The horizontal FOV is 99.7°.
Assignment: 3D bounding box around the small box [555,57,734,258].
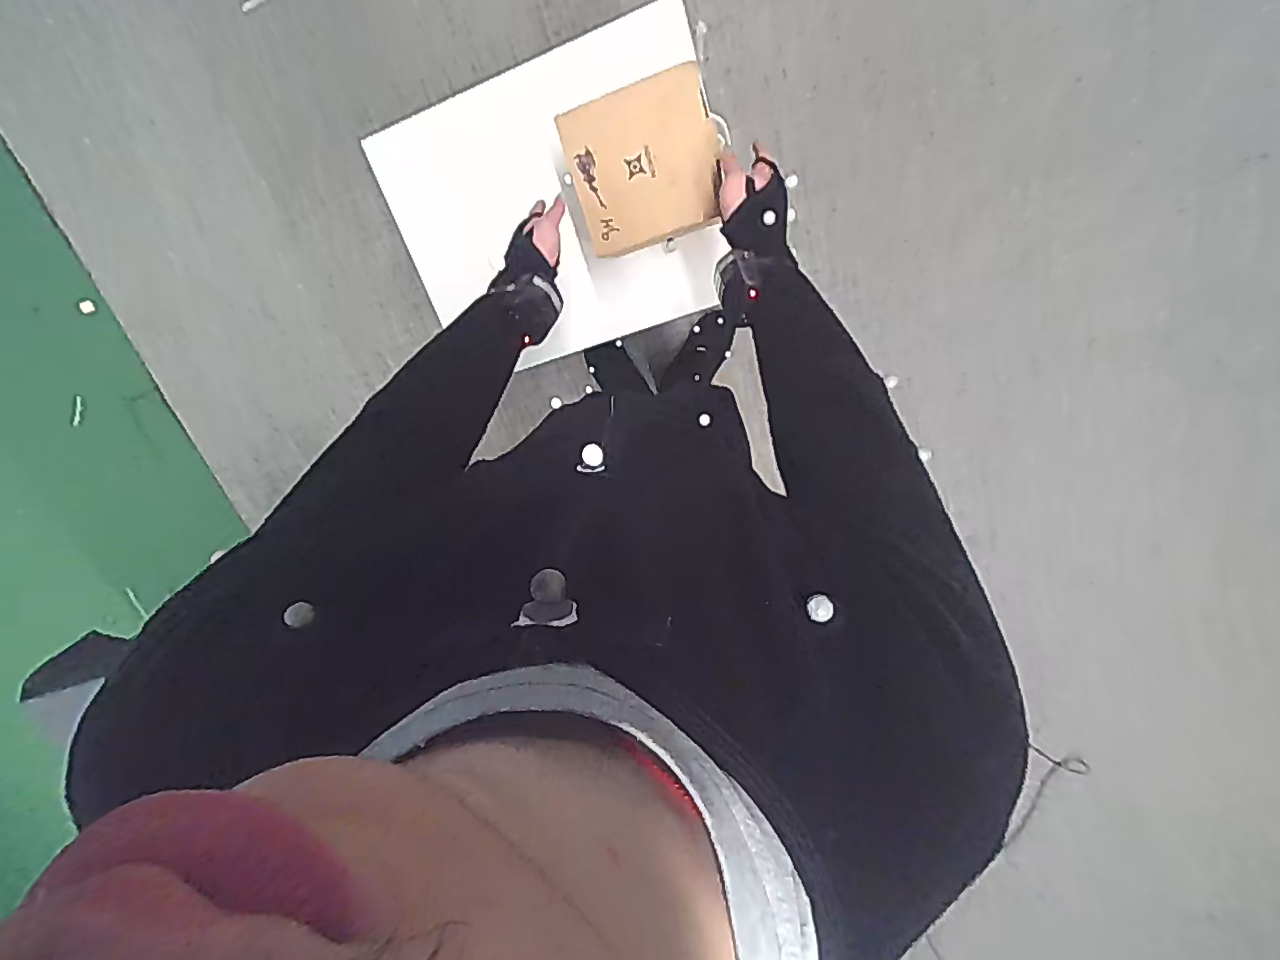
[{"bbox_3d":[0.011,-0.399,0.702,0.179,0.176,0.168,-15,110,10],"label":"small box"}]
